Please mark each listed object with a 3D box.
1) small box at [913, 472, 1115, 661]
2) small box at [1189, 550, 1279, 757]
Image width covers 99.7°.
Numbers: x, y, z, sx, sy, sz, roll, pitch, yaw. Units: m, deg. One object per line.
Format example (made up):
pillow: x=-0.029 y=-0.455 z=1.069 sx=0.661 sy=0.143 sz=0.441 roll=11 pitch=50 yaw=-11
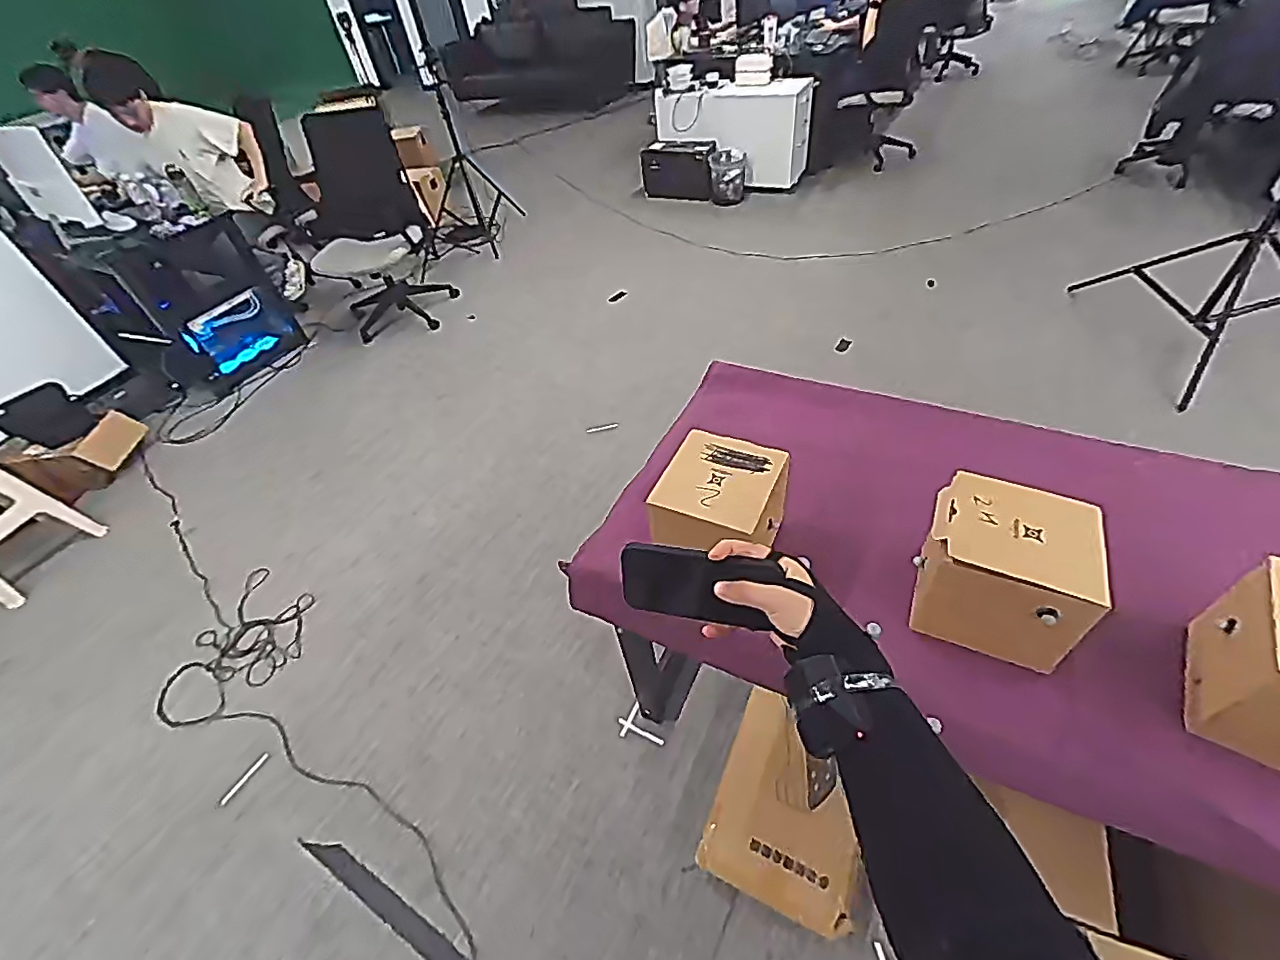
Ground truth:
small box: x=0.496 y=0.120 z=0.737 sx=0.179 sy=0.176 sz=0.168 roll=15 pitch=49 yaw=23
small box: x=0.768 y=0.216 z=0.602 sx=0.179 sy=0.176 sz=0.168 roll=22 pitch=54 yaw=27
